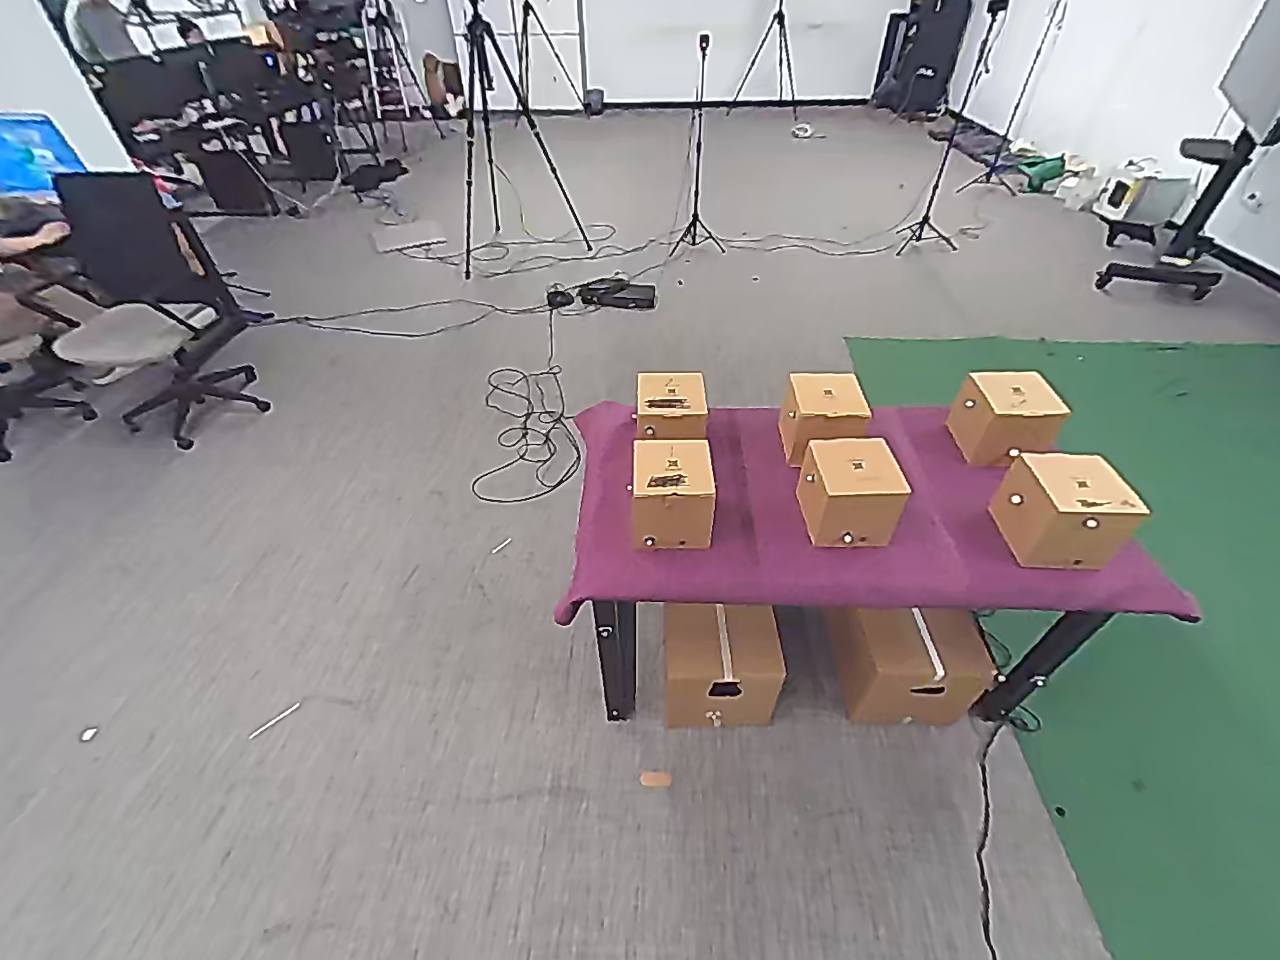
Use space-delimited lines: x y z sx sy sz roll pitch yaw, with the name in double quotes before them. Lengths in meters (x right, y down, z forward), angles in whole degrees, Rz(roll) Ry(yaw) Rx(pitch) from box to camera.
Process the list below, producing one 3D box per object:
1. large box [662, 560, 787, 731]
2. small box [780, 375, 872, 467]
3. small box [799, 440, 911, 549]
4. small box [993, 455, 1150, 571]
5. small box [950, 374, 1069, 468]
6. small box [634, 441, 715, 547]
"large box" 0.232 0.500 1.653 0.320 0.320 0.408 -1 42 0
"small box" 0.461 -0.147 1.372 0.168 0.176 0.179 1 44 2
"small box" 0.456 0.031 1.181 0.168 0.176 0.179 -1 43 2
"small box" 0.878 0.067 1.126 0.168 0.176 0.179 1 41 5
"small box" 0.909 -0.149 1.353 0.168 0.176 0.179 0 44 5
"small box" 0.072 0.034 1.186 0.168 0.176 0.179 0 42 0
